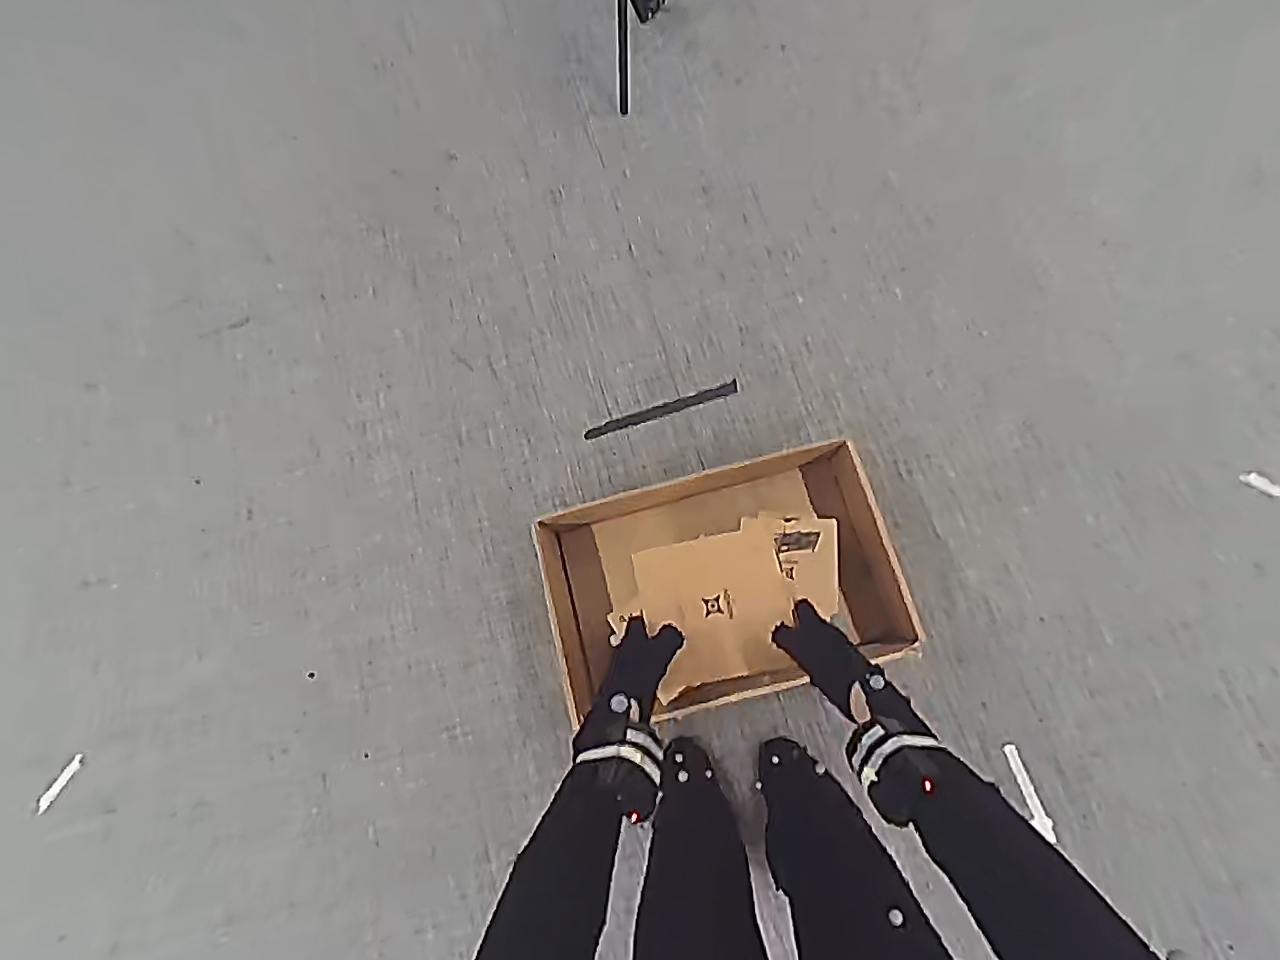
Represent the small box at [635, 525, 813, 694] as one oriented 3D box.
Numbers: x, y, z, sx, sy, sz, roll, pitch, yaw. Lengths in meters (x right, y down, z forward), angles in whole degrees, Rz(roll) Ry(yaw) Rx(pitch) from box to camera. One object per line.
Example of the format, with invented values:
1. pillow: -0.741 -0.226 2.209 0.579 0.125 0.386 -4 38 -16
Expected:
1. small box: 0.097 0.169 0.691 0.179 0.176 0.168 -11 69 1
